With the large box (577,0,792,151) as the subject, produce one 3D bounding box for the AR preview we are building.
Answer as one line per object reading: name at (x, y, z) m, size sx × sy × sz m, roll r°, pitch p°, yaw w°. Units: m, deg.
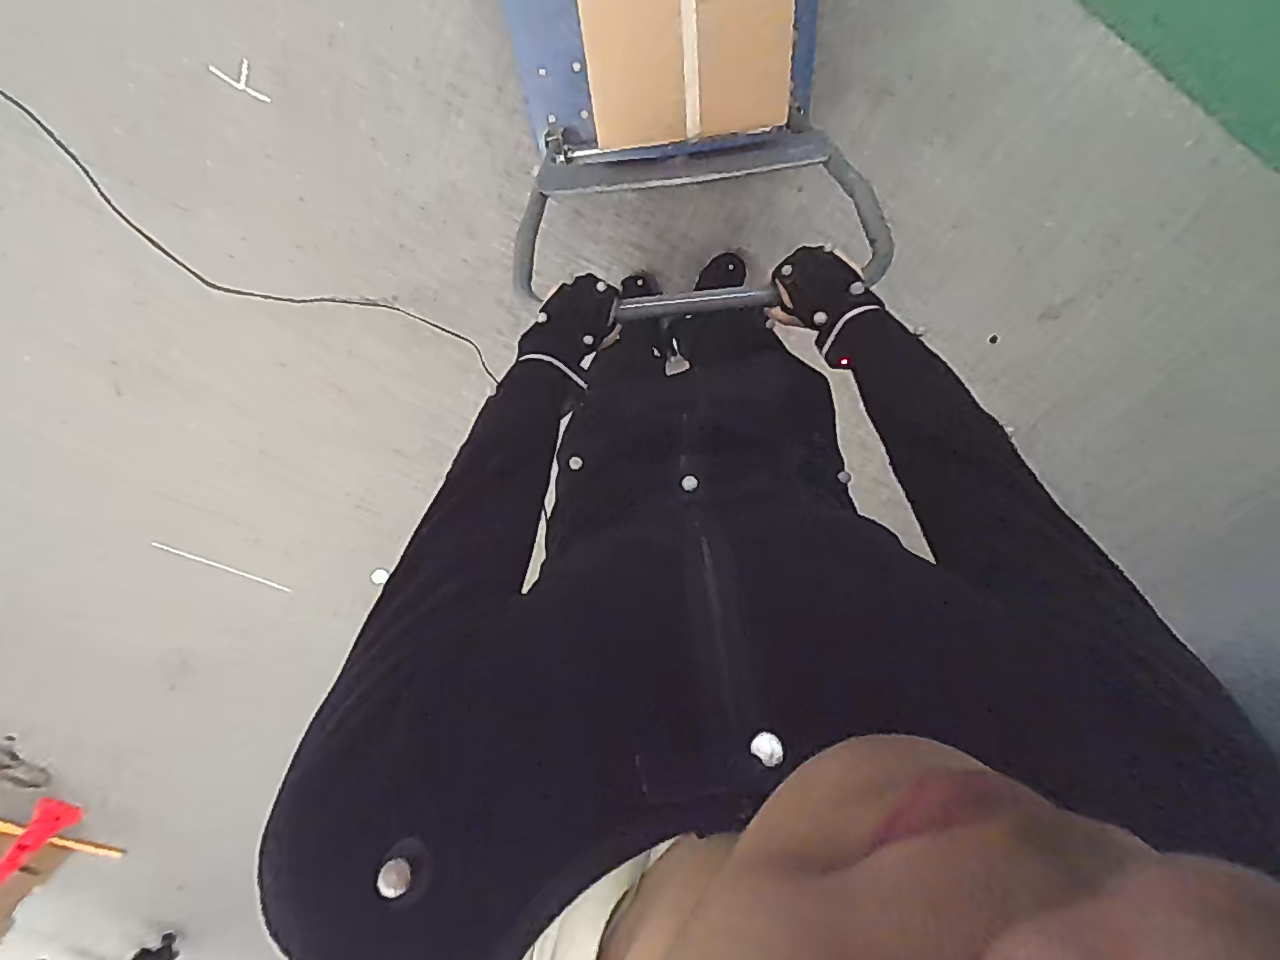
large box at (0.062, -0.810, 0.878) m, size 0.320 × 0.320 × 0.408 m, roll -6°, pitch 130°, yaw 4°
